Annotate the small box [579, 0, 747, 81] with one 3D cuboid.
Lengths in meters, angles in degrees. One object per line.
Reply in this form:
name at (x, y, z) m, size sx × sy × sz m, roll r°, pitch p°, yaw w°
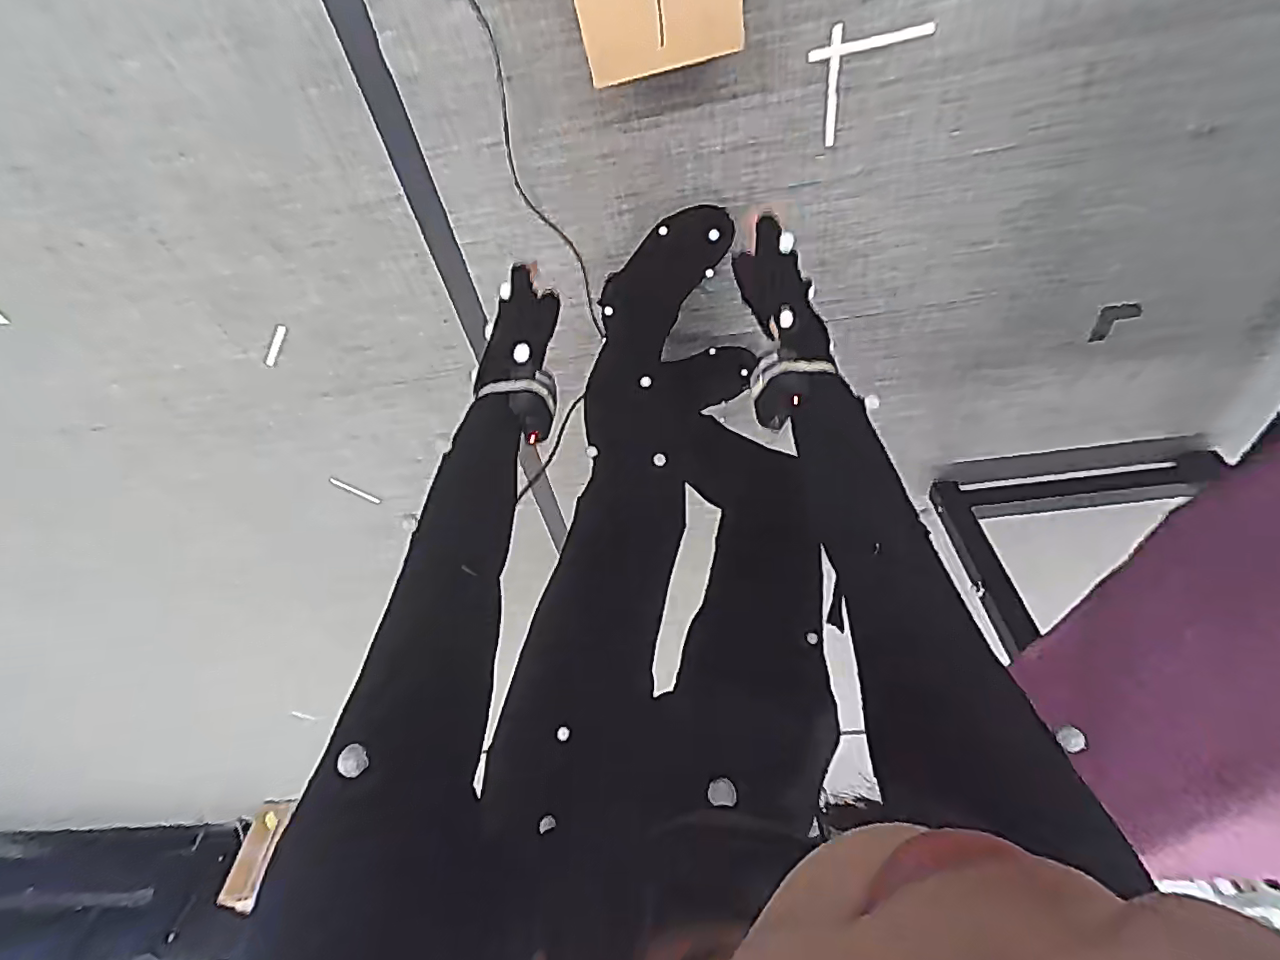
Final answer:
small box at (0.015, -0.555, 0.568) m, size 0.168 × 0.176 × 0.179 m, roll -8°, pitch 135°, yaw 9°
